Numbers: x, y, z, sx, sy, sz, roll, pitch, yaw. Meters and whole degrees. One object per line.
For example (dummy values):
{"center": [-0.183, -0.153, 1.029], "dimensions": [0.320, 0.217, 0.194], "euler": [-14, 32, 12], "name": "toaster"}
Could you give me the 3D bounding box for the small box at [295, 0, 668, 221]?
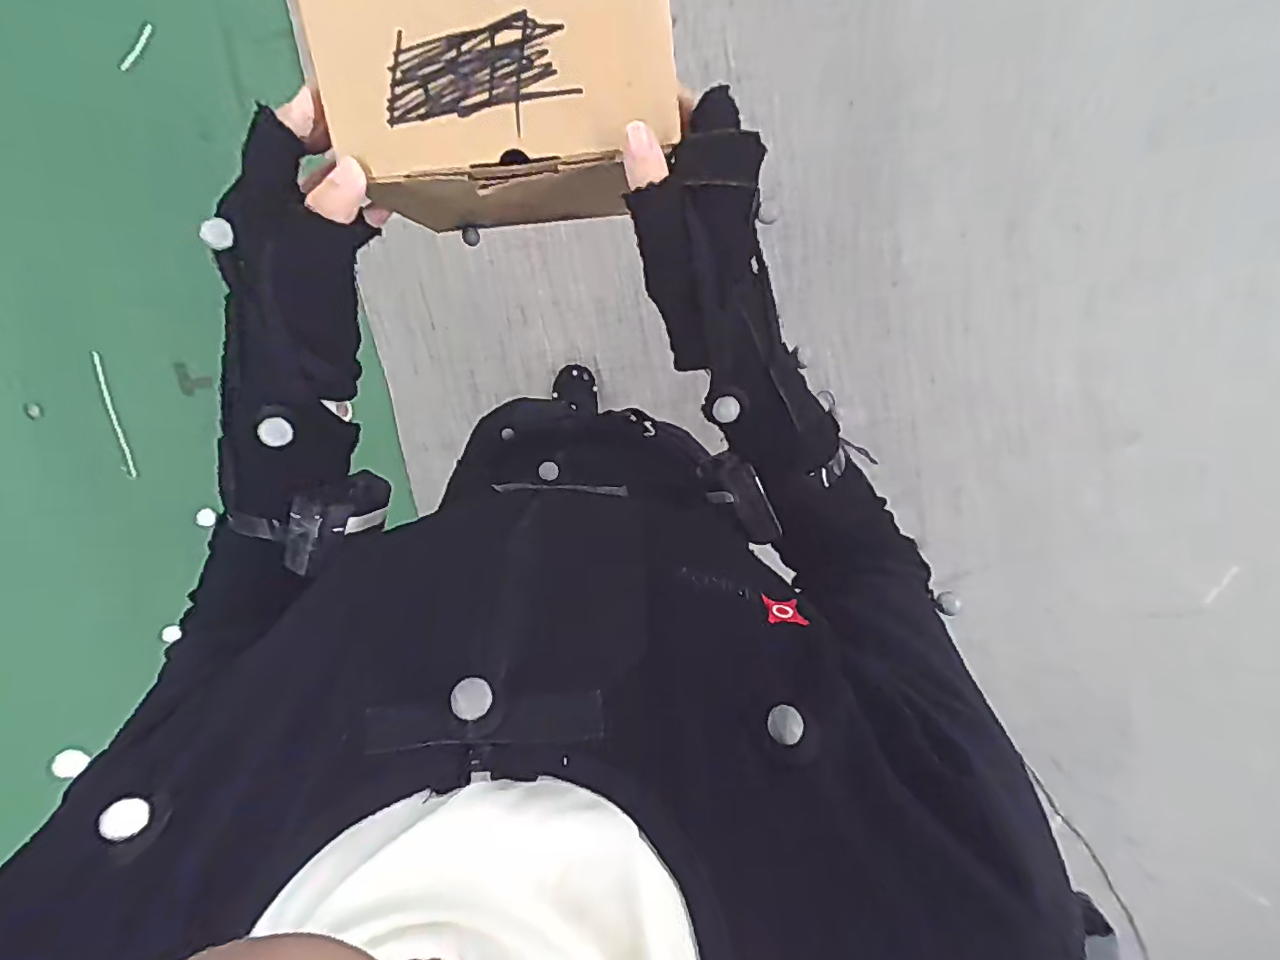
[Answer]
{"center": [-0.078, -0.259, 0.315], "dimensions": [0.168, 0.176, 0.179], "euler": [-7, 107, -2], "name": "small box"}
